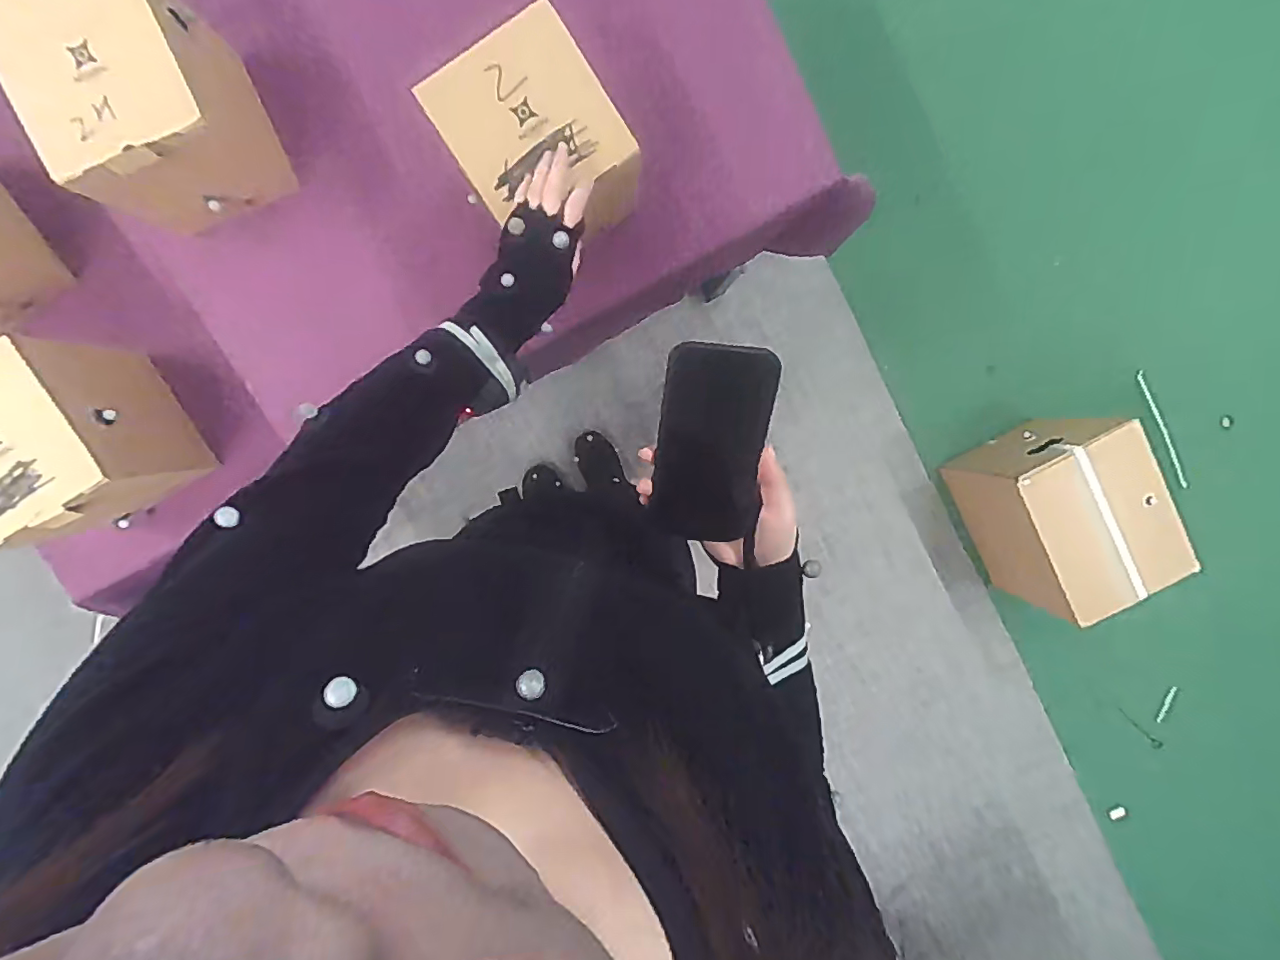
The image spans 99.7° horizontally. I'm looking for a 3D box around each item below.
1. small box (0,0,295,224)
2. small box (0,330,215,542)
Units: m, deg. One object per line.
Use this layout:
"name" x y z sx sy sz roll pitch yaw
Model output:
"small box" -0.539 -0.423 0.604 0.168 0.176 0.179 -22 98 1
"small box" -0.676 -0.054 0.649 0.168 0.176 0.179 -30 96 1
